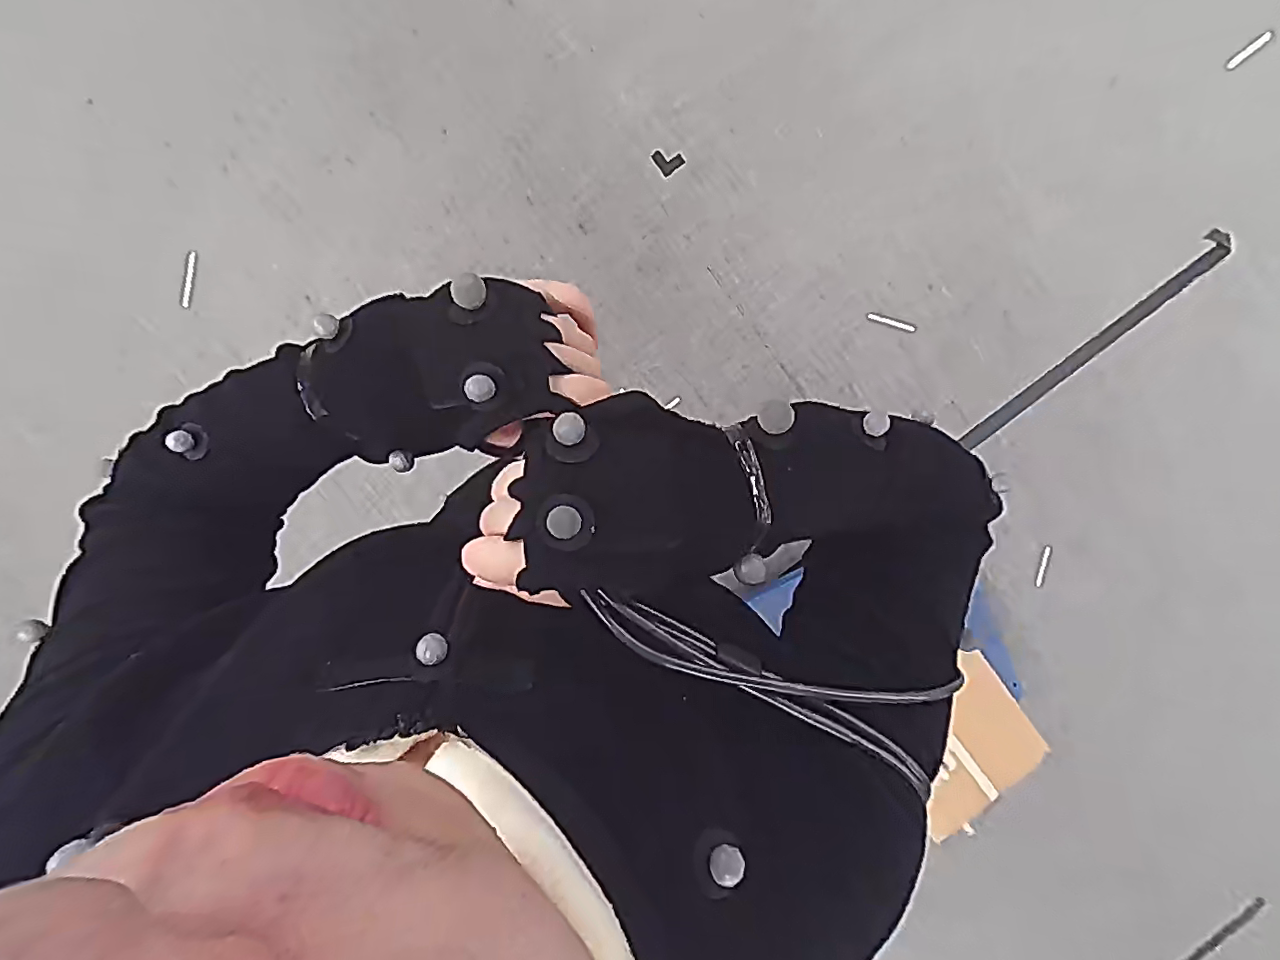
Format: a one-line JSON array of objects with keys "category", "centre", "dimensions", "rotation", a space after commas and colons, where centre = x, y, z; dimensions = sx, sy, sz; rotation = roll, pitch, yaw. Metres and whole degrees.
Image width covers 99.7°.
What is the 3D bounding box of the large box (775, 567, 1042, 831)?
[{"category": "large box", "centre": [0.588, 0.474, 1.250], "dimensions": [0.320, 0.320, 0.408], "rotation": [-38, 97, 0]}]
